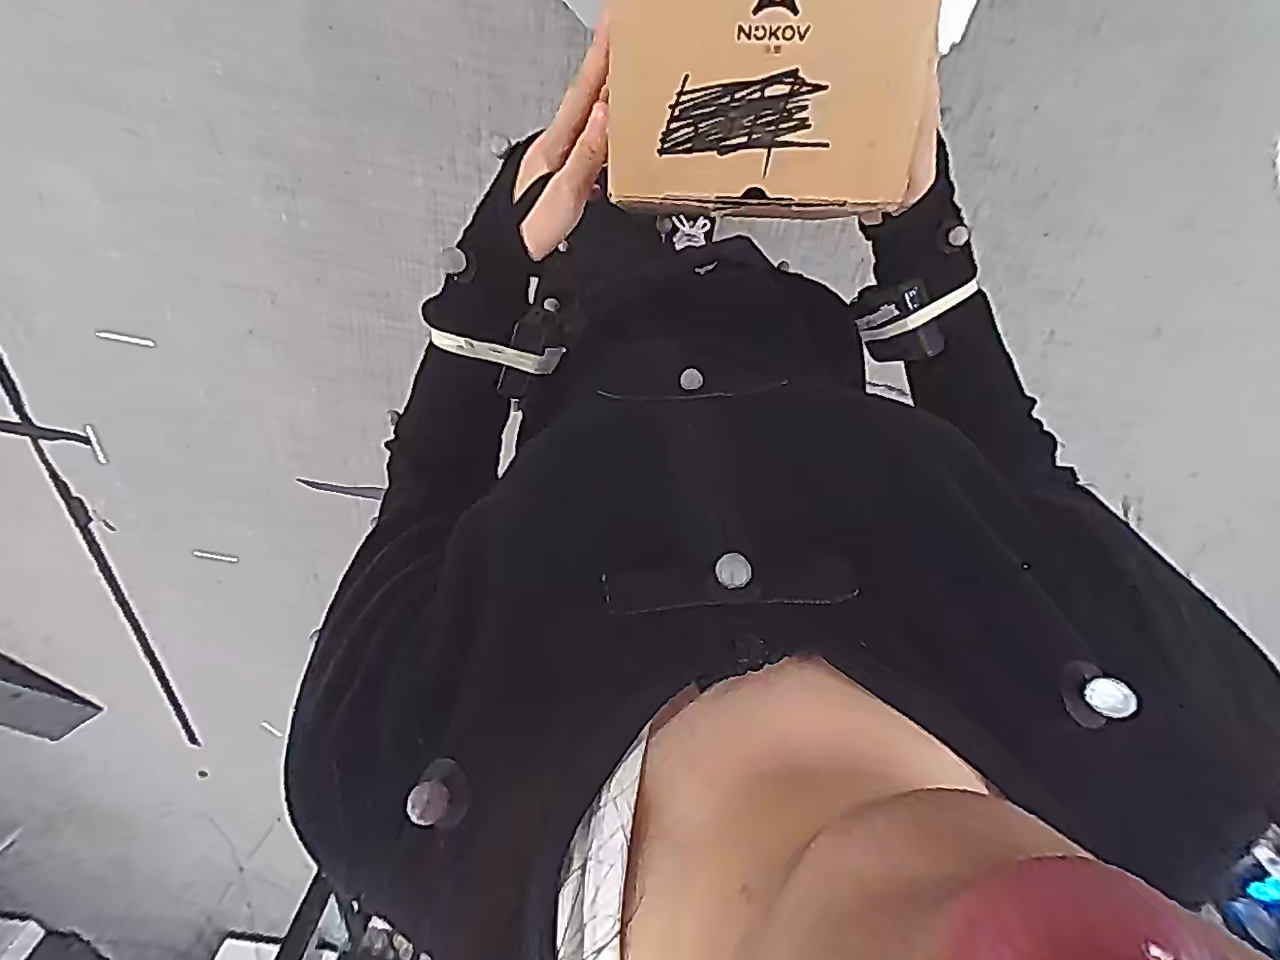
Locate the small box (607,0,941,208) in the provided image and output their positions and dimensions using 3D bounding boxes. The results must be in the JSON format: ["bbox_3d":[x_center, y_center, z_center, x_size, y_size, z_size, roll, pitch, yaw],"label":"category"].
[{"bbox_3d":[0.071,-0.274,0.340,0.168,0.176,0.179,3,114,1],"label":"small box"}]
